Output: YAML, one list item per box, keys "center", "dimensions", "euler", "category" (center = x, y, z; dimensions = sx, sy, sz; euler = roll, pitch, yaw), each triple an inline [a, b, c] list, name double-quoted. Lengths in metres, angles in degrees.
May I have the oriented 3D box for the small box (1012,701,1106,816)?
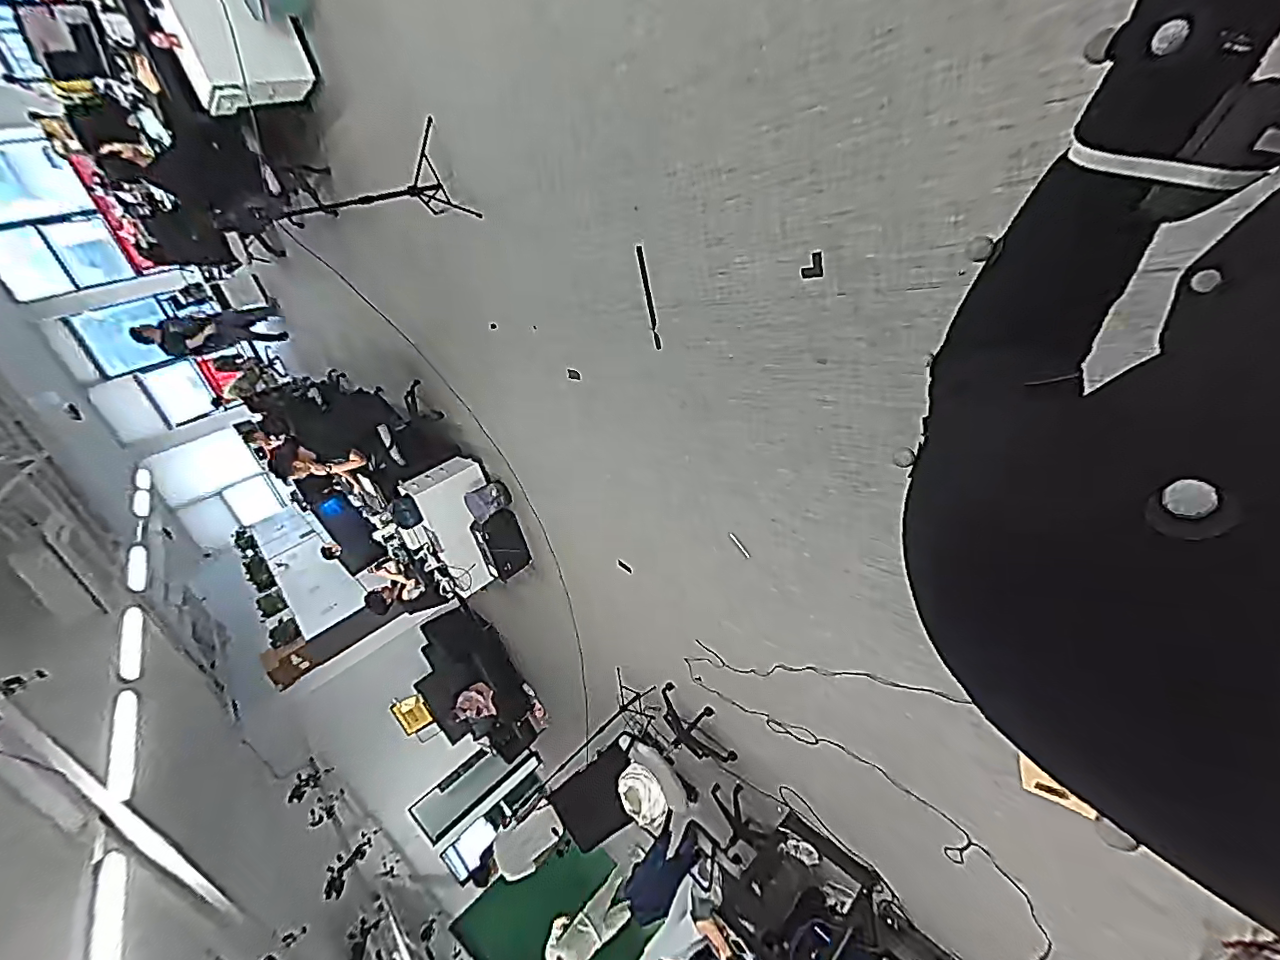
- center: [1.125, 0.738, 1.449]
  dimensions: [0.168, 0.176, 0.179]
  euler: [8, 123, 50]
  category: "small box"
